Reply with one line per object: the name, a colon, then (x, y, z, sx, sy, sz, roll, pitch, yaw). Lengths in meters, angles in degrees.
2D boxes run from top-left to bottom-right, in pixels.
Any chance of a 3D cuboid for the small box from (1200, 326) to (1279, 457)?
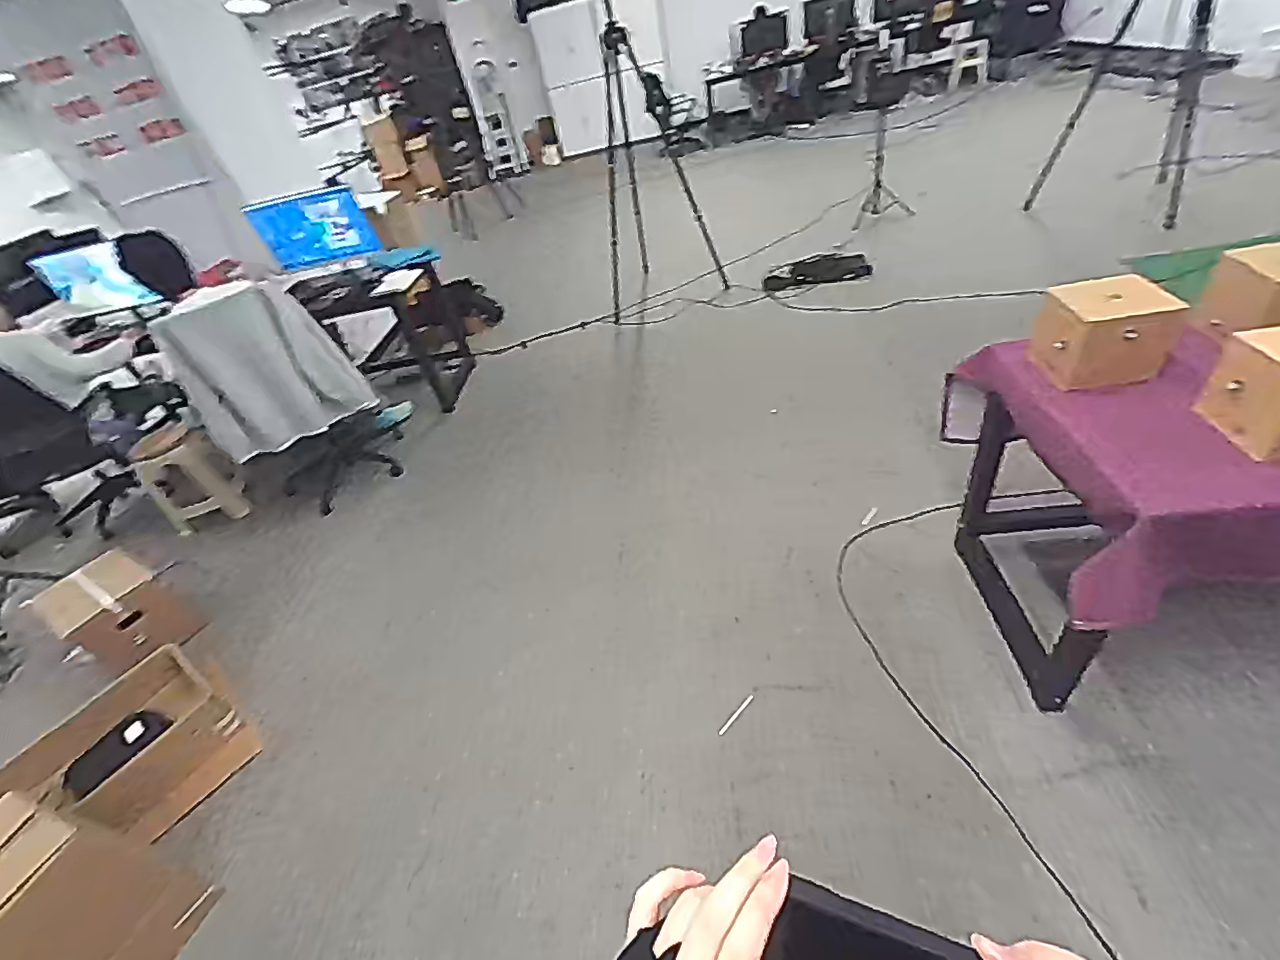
small box: (1.128, -0.153, 0.925, 0.179, 0.176, 0.168, -6, 40, 10)
